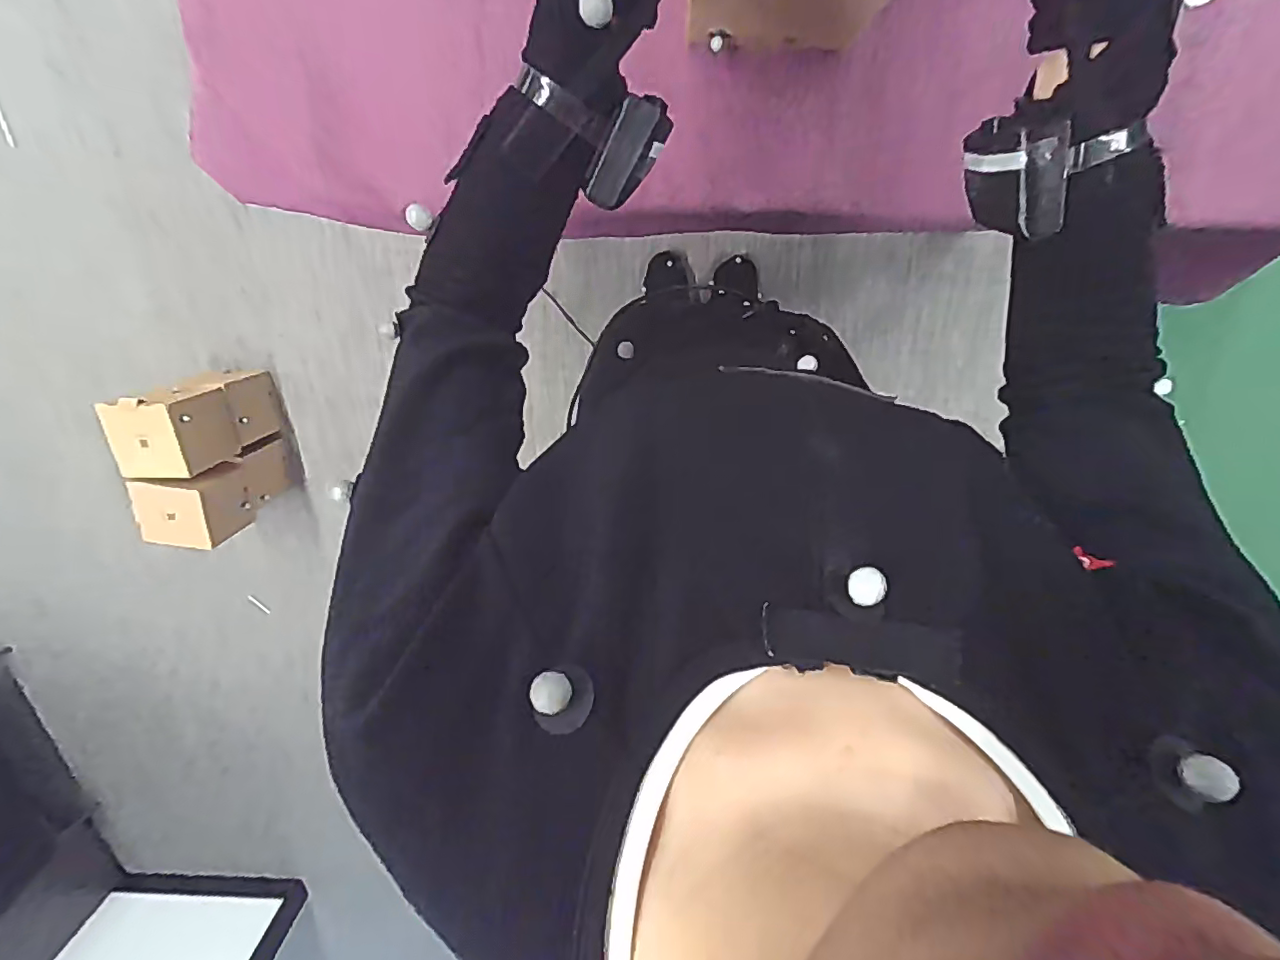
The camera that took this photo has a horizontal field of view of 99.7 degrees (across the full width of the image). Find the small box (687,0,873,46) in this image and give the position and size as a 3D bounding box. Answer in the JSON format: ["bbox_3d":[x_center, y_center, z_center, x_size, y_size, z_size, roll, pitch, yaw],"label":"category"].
[{"bbox_3d":[0.128,-0.495,0.449,0.168,0.176,0.179,4,112,2],"label":"small box"}]
